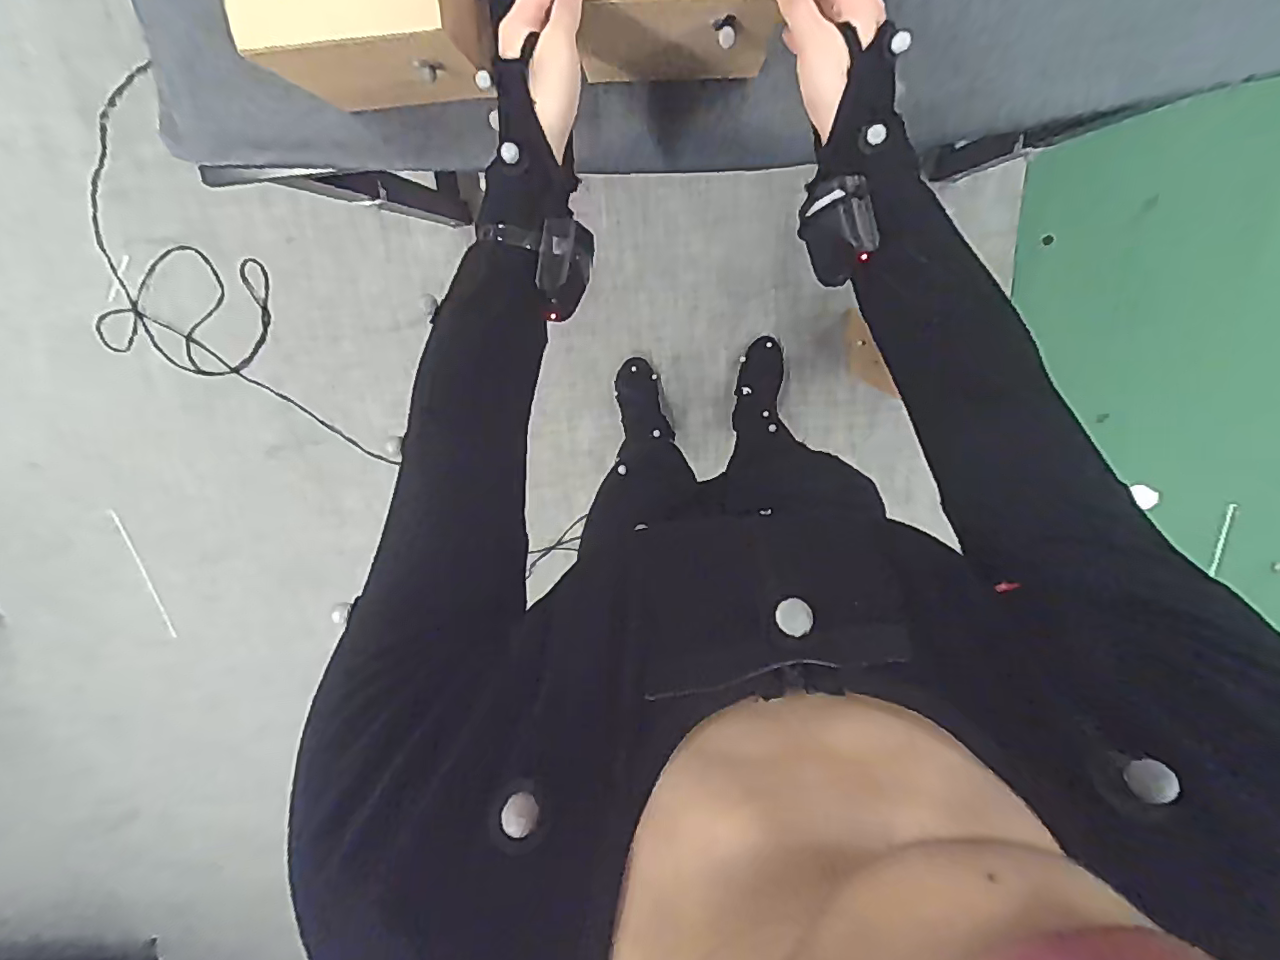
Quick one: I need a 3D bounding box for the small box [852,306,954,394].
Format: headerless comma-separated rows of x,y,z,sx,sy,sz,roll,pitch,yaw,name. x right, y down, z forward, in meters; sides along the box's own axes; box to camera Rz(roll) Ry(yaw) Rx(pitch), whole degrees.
0.605,-0.308,1.265,0.168,0.176,0.179,-5,108,5,small box
